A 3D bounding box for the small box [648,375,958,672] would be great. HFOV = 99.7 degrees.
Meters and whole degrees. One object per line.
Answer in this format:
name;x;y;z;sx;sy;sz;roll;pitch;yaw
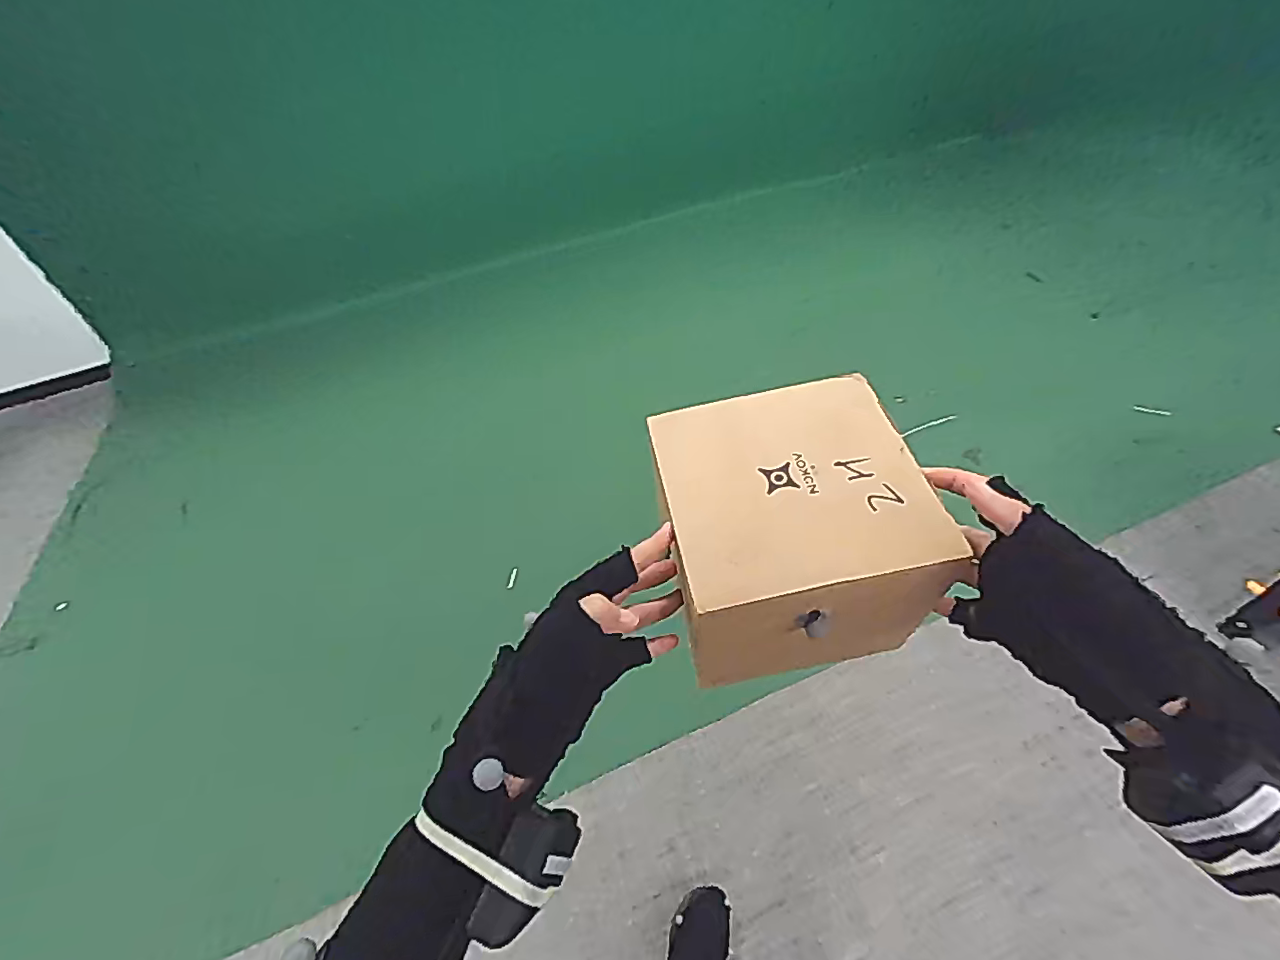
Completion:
small box;0.112;0.043;0.447;0.179;0.176;0.168;-11;54;-2
